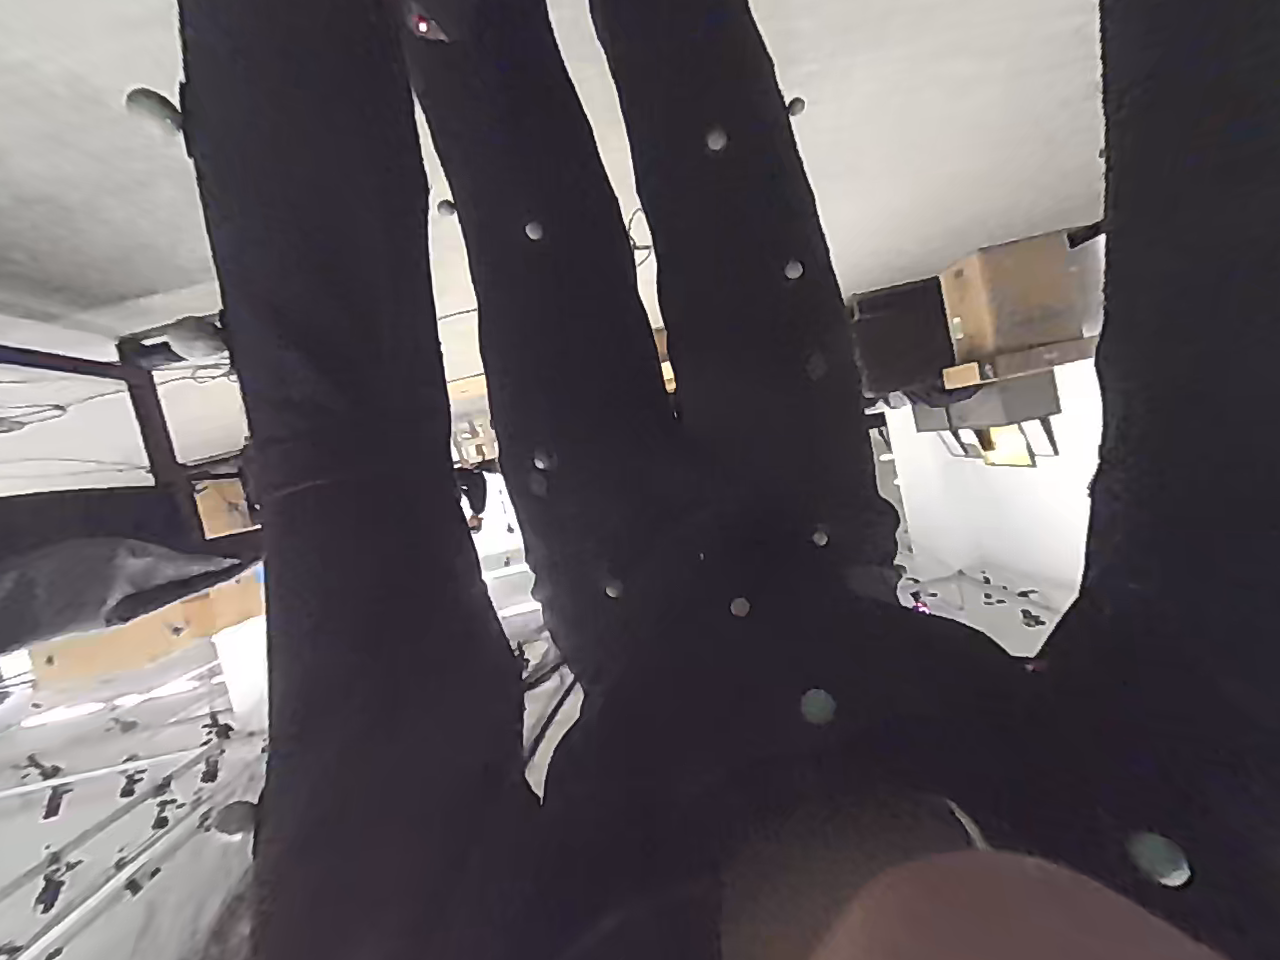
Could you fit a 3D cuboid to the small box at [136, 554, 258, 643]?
[{"bbox_3d":[-1.140,0.296,1.391,0.179,0.176,0.168,-13,-177,2],"label":"small box"}]
